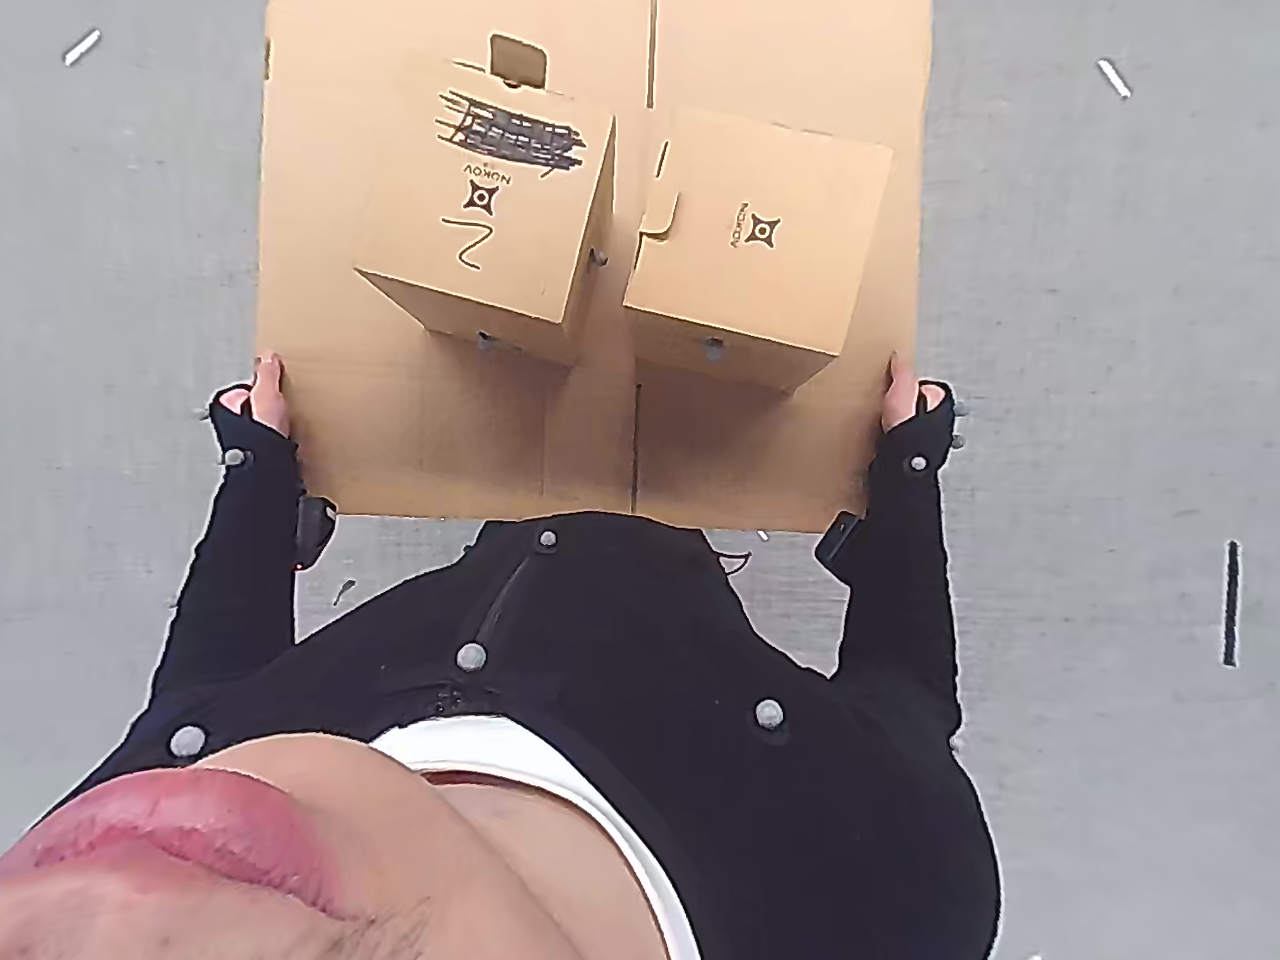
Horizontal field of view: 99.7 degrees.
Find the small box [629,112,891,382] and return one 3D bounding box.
[{"bbox_3d":[0.101,-0.198,0.511,0.179,0.176,0.168,15,91,5],"label":"small box"}]
